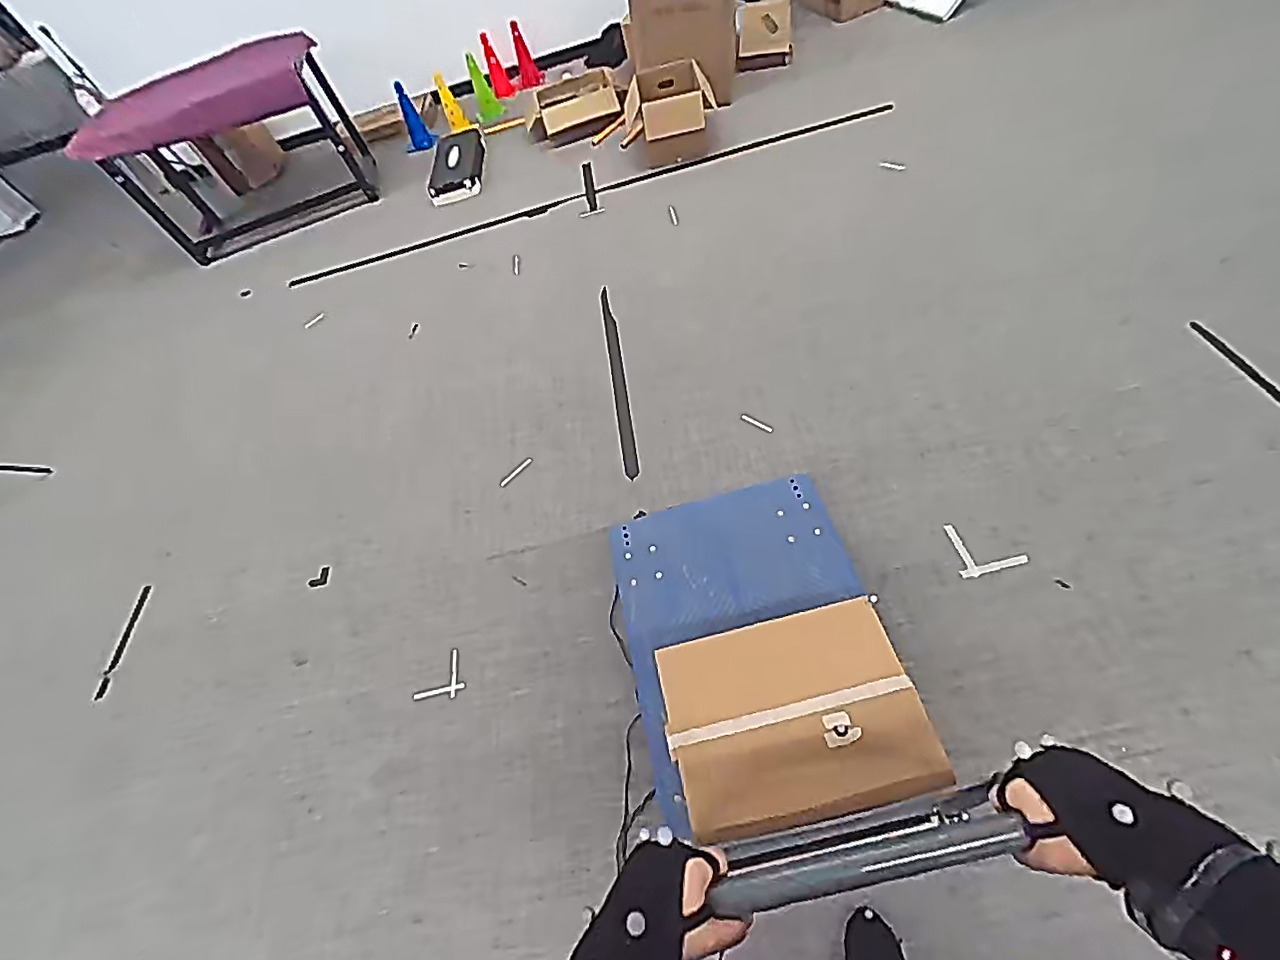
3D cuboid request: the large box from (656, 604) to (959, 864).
[{"bbox_3d":[0.273,0.477,0.997,0.408,0.320,0.320,-15,55,2],"label":"large box"}]
